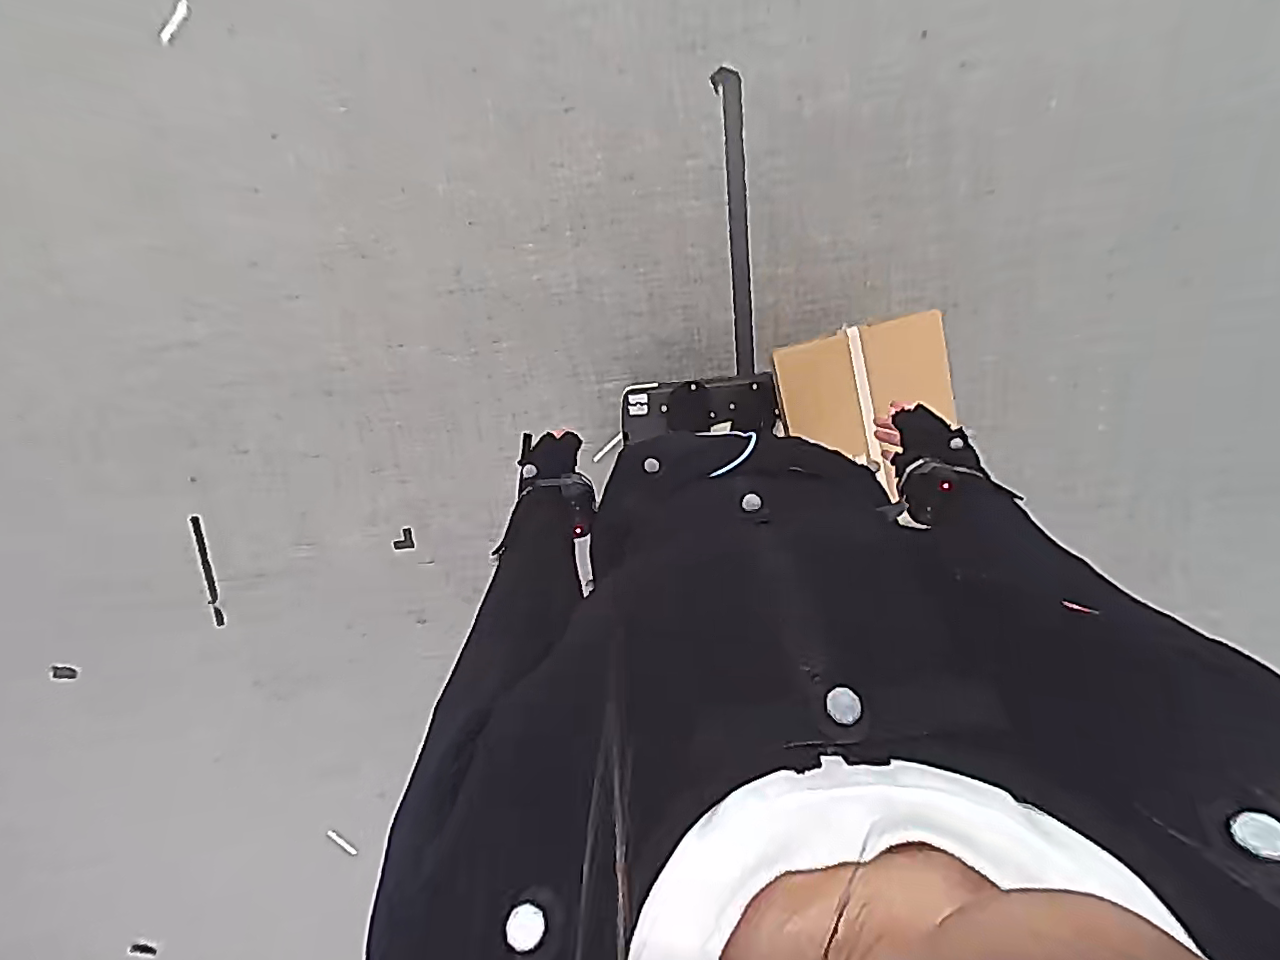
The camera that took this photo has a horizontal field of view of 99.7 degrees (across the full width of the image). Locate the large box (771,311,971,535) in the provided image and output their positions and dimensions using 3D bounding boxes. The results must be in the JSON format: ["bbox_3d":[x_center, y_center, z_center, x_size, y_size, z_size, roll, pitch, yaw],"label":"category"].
[{"bbox_3d":[0.499,-0.137,1.229,0.320,0.320,0.408,-12,101,15],"label":"large box"}]
